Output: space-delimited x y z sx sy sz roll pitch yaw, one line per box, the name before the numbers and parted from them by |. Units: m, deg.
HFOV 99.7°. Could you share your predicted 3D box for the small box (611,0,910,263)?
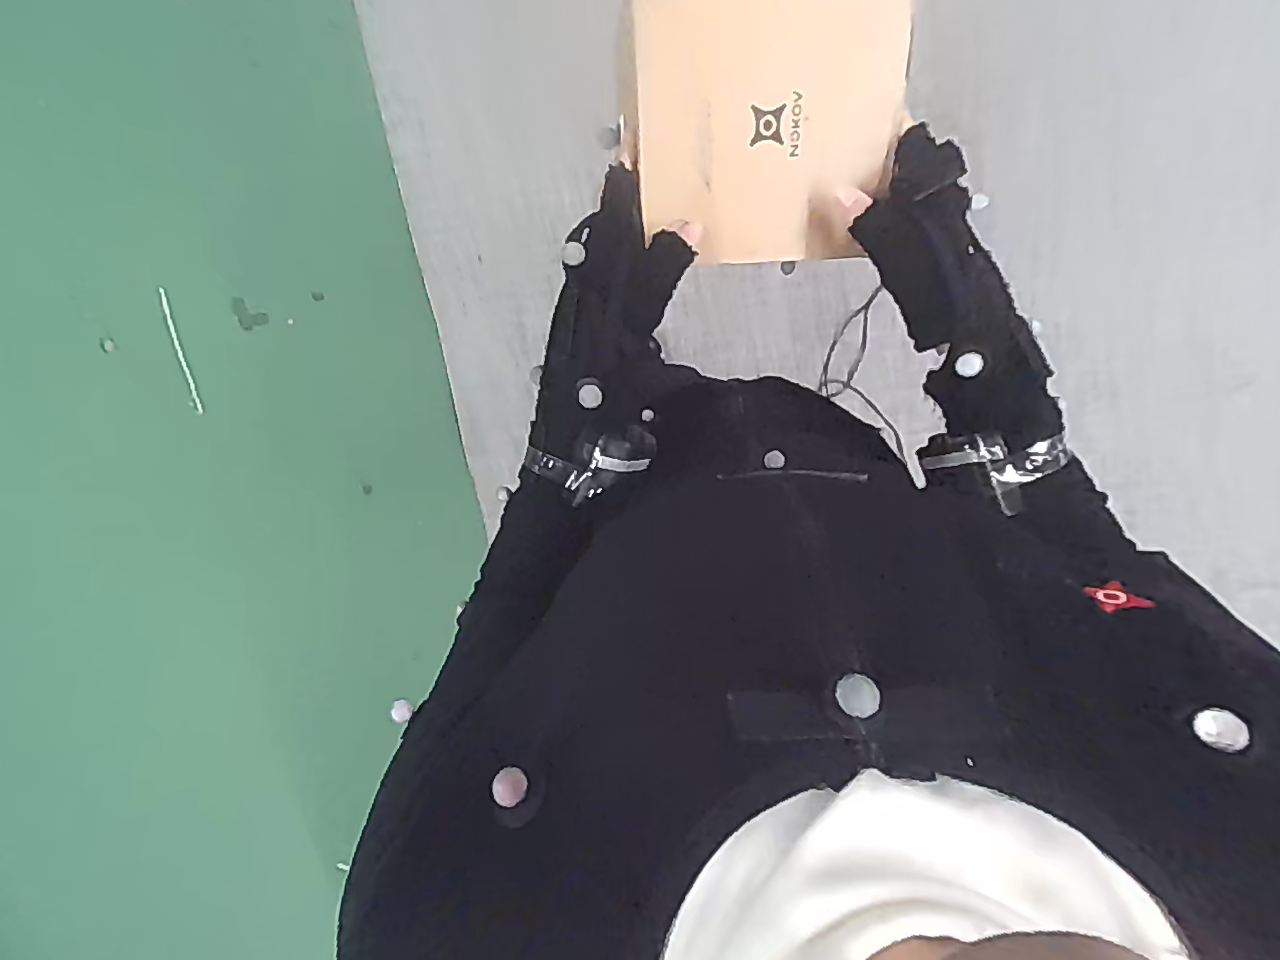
small box | 0.073 -0.266 0.417 0.179 0.176 0.168 -5 115 -3
